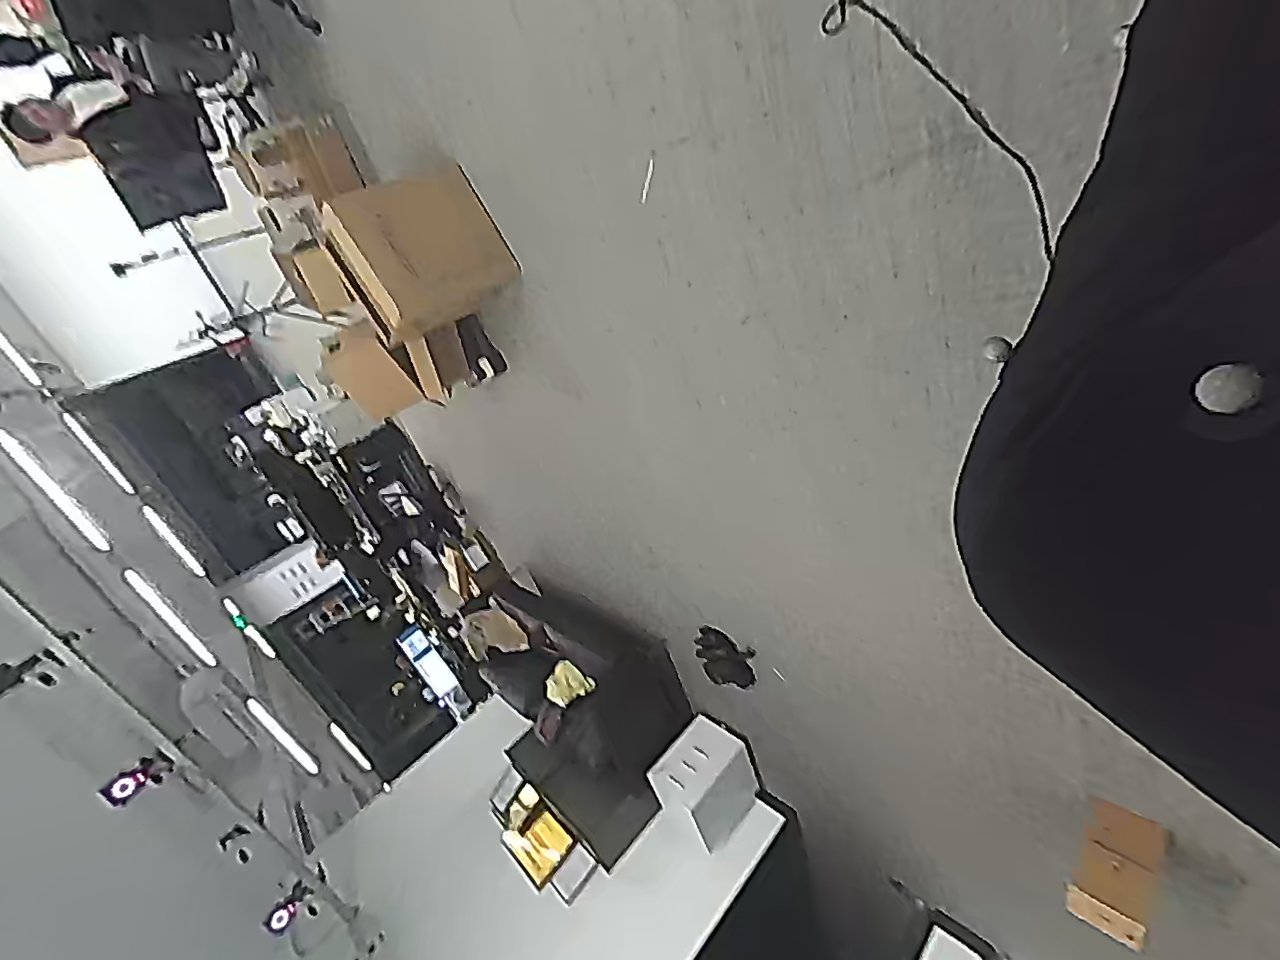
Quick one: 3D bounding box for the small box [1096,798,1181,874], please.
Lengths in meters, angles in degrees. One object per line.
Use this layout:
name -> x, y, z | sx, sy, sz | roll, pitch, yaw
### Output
small box -> 1.596, 1.165, 1.735 | 0.179, 0.176, 0.168 | 10, 131, 49

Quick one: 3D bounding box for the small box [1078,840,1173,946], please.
small box -> 1.481, 1.247, 1.652 | 0.179, 0.176, 0.168 | 16, 135, 48
